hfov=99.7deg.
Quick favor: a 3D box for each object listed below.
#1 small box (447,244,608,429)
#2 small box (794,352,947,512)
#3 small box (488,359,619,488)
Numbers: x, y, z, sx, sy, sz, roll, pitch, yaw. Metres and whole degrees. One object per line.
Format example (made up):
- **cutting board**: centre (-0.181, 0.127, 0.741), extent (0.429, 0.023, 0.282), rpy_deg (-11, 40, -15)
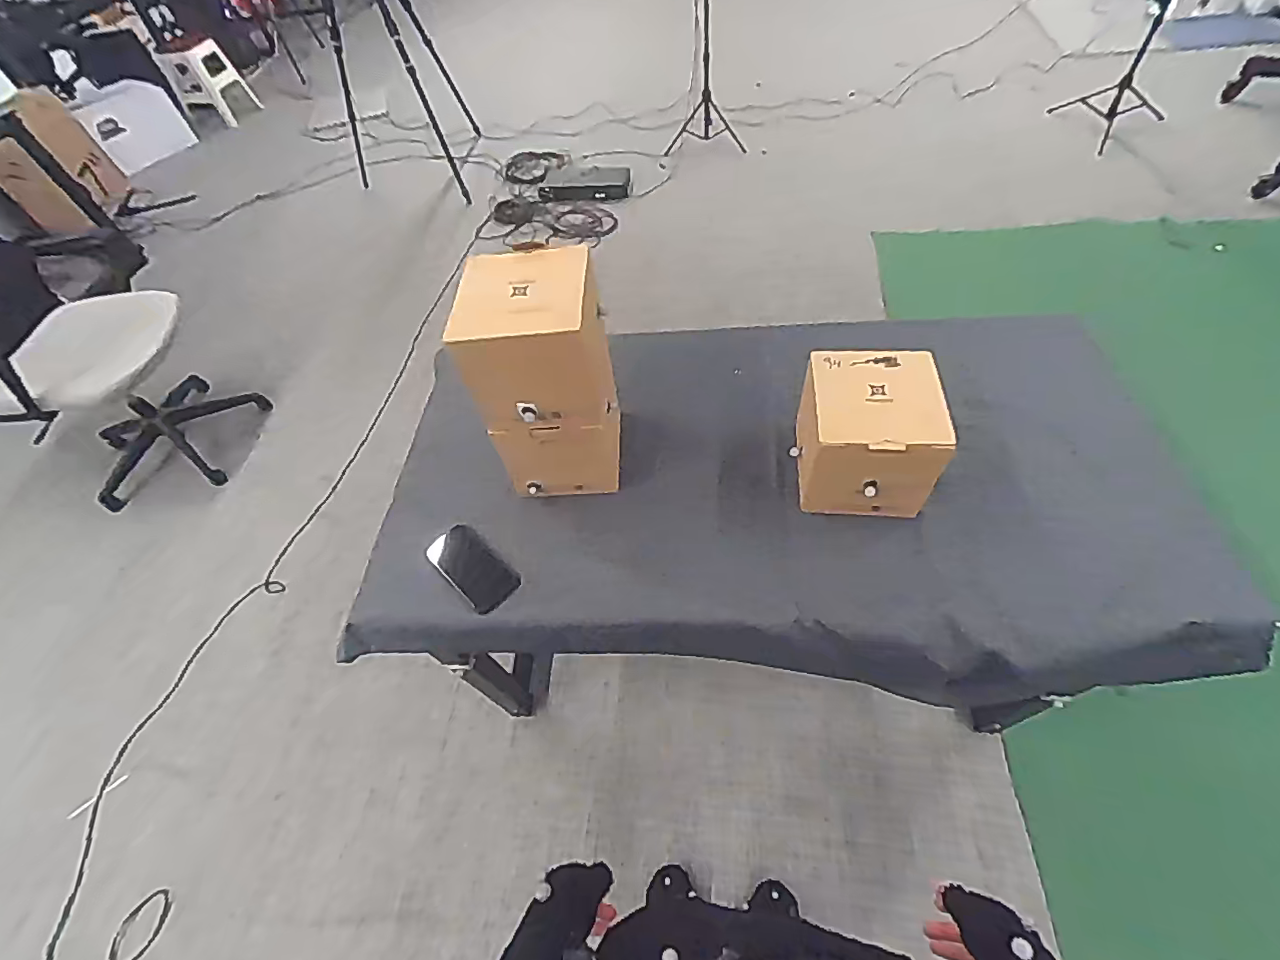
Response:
- **small box**: centre (-0.138, -0.191, 0.737), extent (0.168, 0.176, 0.179), rpy_deg (-4, 56, 5)
- **small box**: centre (0.323, -0.066, 0.796), extent (0.168, 0.176, 0.179), rpy_deg (2, 56, 9)
- **small box**: centre (-0.126, -0.097, 0.869), extent (0.168, 0.176, 0.179), rpy_deg (-3, 54, 4)
